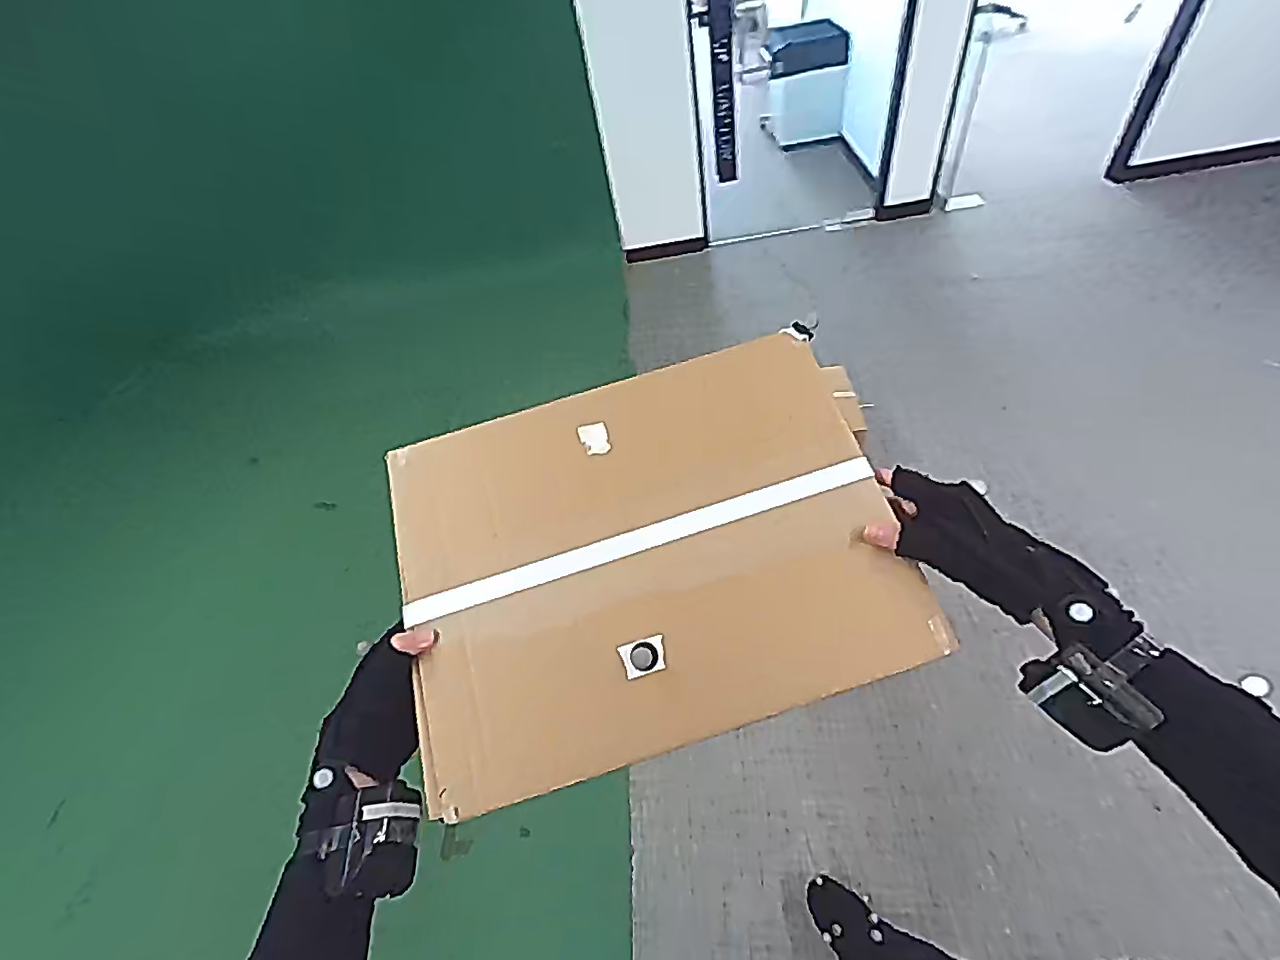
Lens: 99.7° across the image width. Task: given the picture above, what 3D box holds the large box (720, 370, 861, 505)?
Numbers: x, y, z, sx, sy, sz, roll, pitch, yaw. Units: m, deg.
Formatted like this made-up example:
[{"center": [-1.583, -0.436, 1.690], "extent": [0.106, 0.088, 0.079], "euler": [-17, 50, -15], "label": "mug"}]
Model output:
[{"center": [0.499, -0.138, 1.862], "extent": [0.408, 0.320, 0.320], "euler": [-6, 48, 8], "label": "large box"}]
